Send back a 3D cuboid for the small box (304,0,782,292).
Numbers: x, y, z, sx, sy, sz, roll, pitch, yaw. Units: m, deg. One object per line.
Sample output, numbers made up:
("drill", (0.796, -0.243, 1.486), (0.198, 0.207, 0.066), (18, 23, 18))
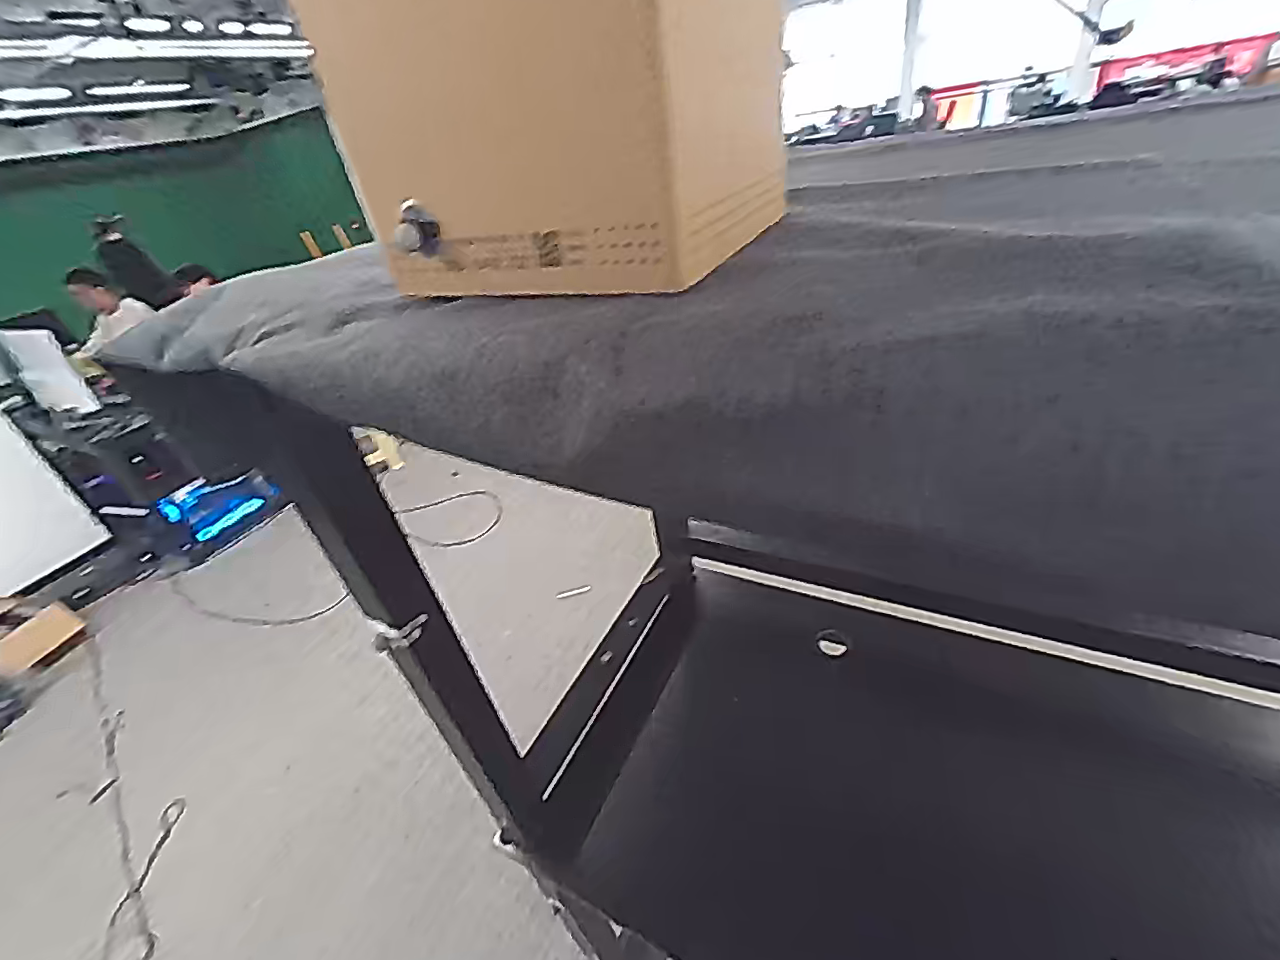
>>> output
("small box", (-0.027, -0.199, 0.271), (0.168, 0.176, 0.179), (9, 36, 25))
